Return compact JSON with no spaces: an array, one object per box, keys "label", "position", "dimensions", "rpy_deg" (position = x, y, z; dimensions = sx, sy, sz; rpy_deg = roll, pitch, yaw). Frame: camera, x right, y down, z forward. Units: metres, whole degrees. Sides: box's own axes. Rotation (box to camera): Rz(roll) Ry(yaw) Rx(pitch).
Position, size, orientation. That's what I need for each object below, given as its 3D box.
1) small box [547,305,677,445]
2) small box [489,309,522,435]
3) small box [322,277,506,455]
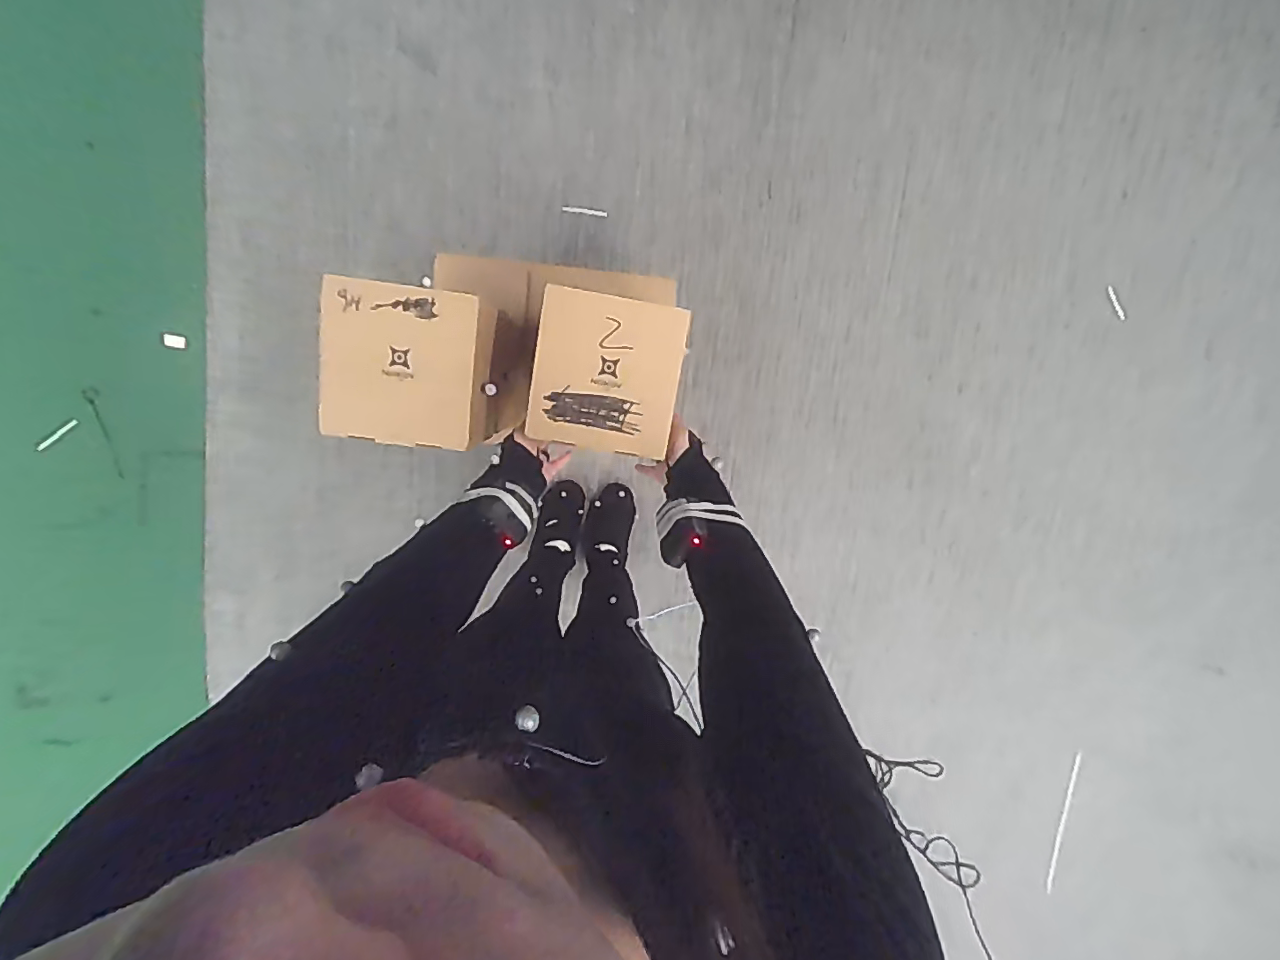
[{"label":"small box","position":[-0.043,-0.160,0.852],"dimensions":[0.168,0.176,0.179],"rpy_deg":[9,98,-4]},{"label":"small box","position":[-0.280,-0.172,0.837],"dimensions":[0.168,0.176,0.179],"rpy_deg":[6,100,-5]},{"label":"small box","position":[-0.270,-0.138,0.677],"dimensions":[0.168,0.176,0.179],"rpy_deg":[7,101,-6]}]
